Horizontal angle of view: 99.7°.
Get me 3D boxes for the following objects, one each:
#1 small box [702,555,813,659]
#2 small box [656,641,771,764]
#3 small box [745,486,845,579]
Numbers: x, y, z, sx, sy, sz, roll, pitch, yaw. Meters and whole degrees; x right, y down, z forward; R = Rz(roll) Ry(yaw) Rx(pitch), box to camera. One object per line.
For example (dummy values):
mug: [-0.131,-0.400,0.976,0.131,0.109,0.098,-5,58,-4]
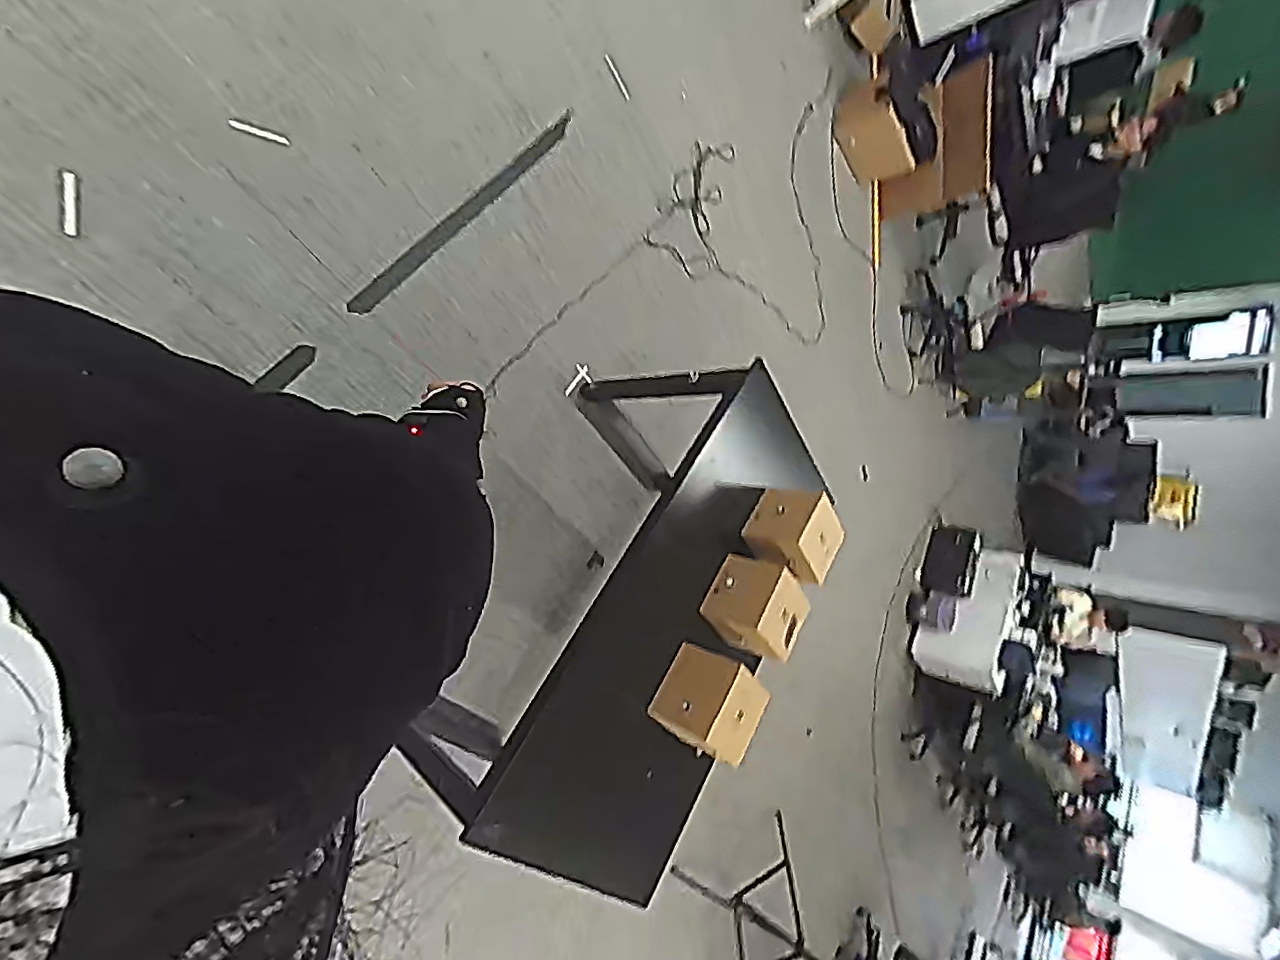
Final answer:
small box: [0.284,0.298,1.305,0.179,0.176,0.168,48,63,-34]
small box: [0.159,0.490,1.209,0.168,0.176,0.179,51,60,-36]
small box: [0.398,0.129,1.398,0.168,0.176,0.179,-54,127,-24]
